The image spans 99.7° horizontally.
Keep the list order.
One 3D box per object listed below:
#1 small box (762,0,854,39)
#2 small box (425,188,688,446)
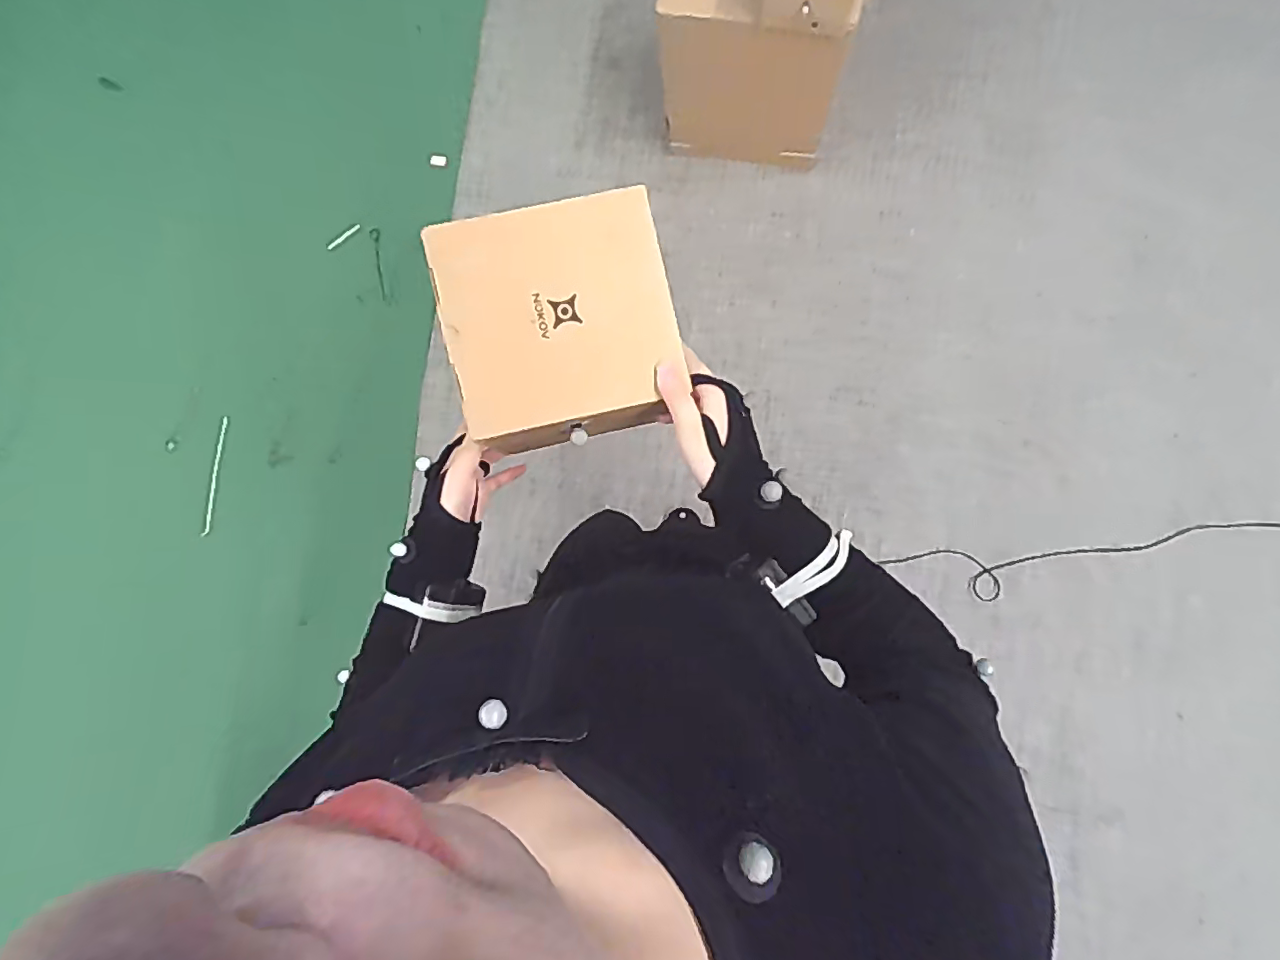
[{"bbox_3d":[0.327,-0.961,0.978,0.168,0.176,0.179,15,88,7],"label":"small box"},{"bbox_3d":[-0.068,-0.130,0.493,0.179,0.176,0.168,-12,90,-3],"label":"small box"}]
